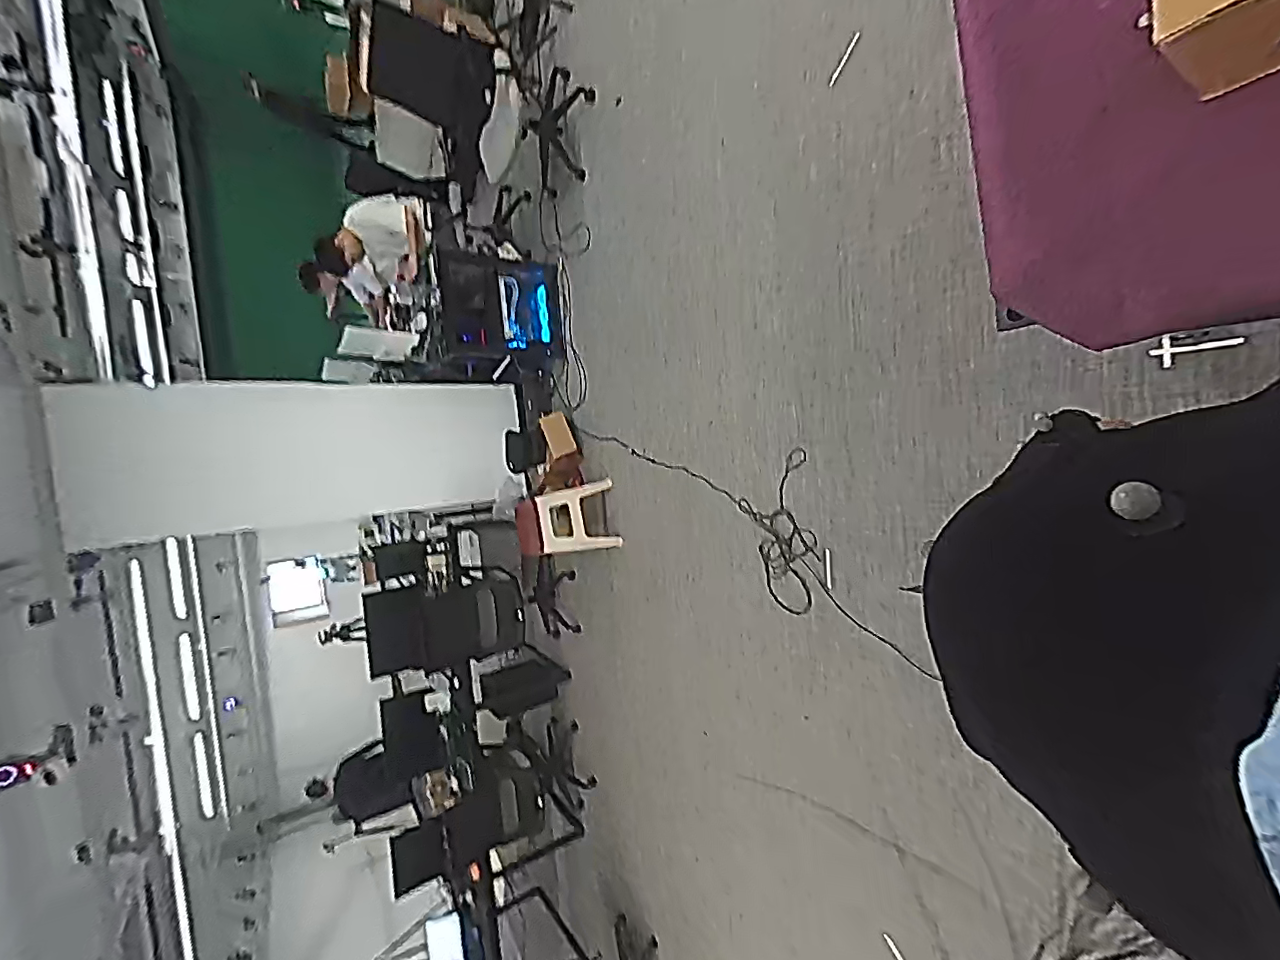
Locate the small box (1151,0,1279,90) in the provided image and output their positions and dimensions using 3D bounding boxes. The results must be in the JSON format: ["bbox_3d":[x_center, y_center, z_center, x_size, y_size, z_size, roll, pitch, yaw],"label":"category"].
[{"bbox_3d":[0.538,-0.466,0.433,0.168,0.176,0.179,-4,94,56],"label":"small box"}]
